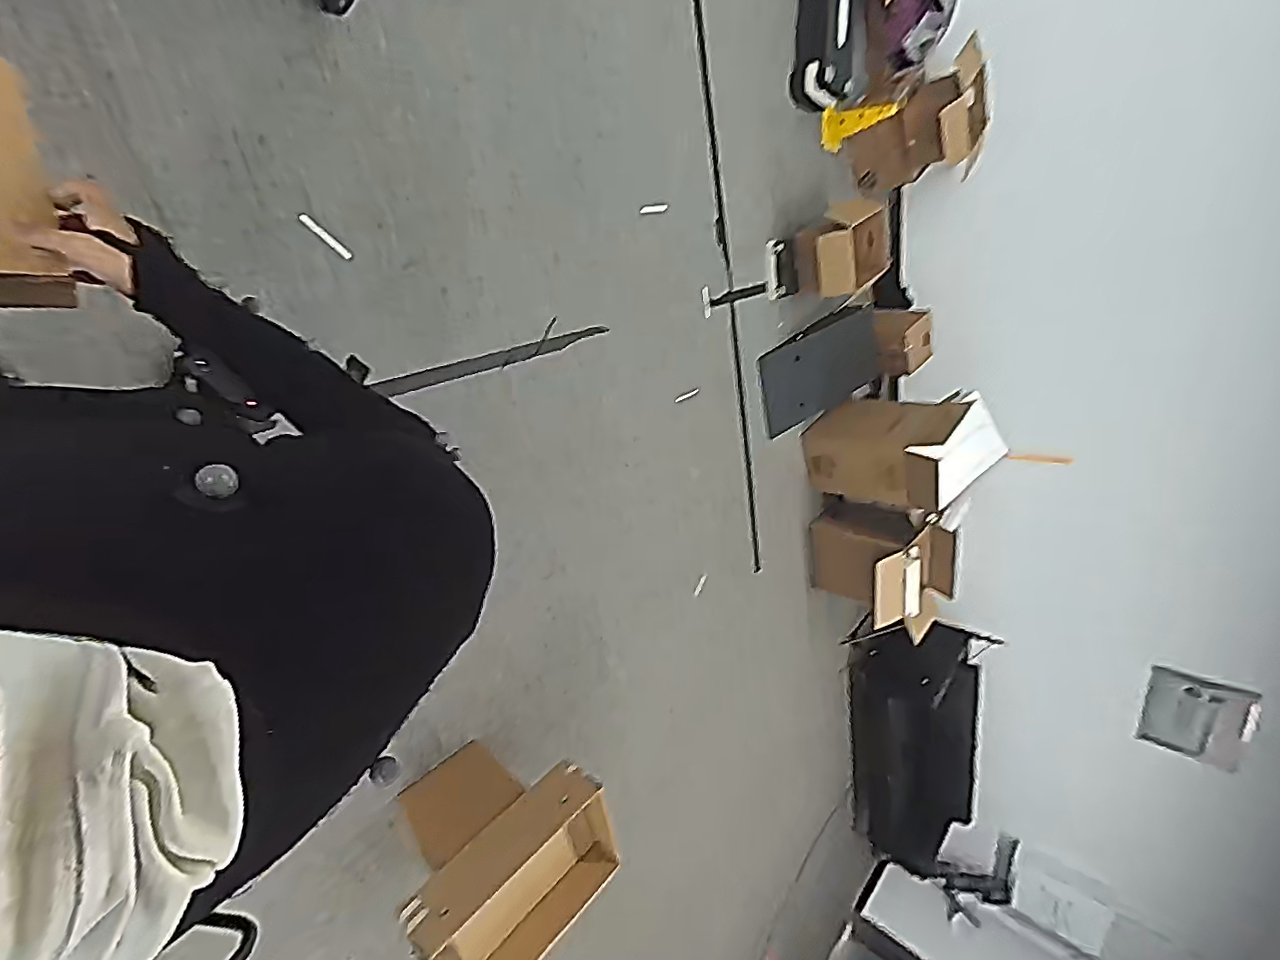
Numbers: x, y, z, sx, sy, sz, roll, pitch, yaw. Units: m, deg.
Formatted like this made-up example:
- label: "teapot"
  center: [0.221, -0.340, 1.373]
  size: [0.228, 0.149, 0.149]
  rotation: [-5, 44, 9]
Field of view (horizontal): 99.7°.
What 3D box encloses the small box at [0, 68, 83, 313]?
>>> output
- label: "small box"
  center: [-0.619, -0.244, 0.467]
  size: [0.168, 0.176, 0.179]
  rotation: [-15, 104, -43]
